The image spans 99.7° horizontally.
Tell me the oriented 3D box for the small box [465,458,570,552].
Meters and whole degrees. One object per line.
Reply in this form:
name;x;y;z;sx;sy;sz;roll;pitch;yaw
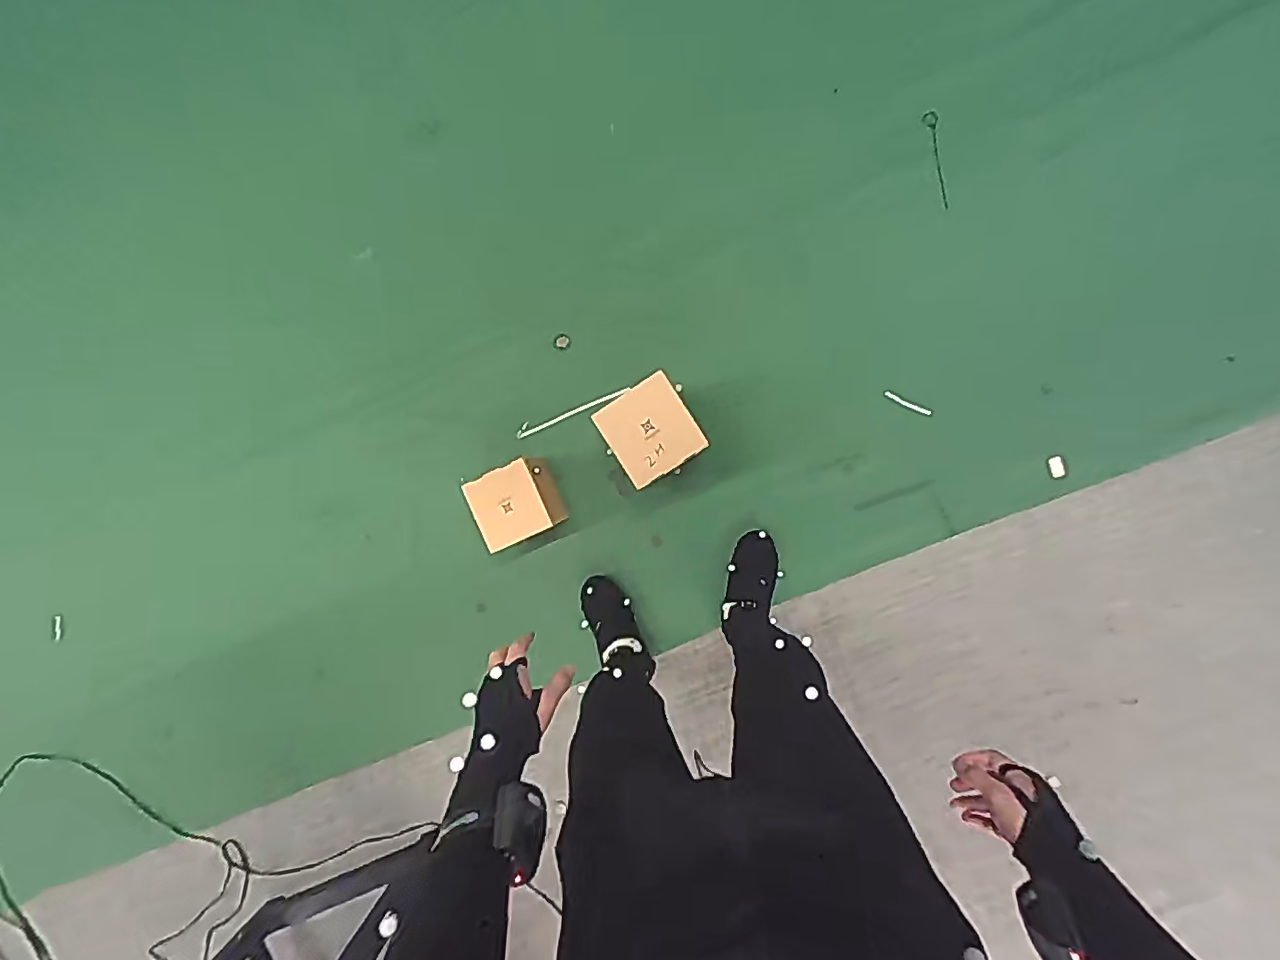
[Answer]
small box;-0.290;0.054;1.326;0.168;0.176;0.179;-25;89;7

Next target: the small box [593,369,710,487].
small box;0.028;-0.102;1.117;0.168;0.176;0.179;-33;90;7
